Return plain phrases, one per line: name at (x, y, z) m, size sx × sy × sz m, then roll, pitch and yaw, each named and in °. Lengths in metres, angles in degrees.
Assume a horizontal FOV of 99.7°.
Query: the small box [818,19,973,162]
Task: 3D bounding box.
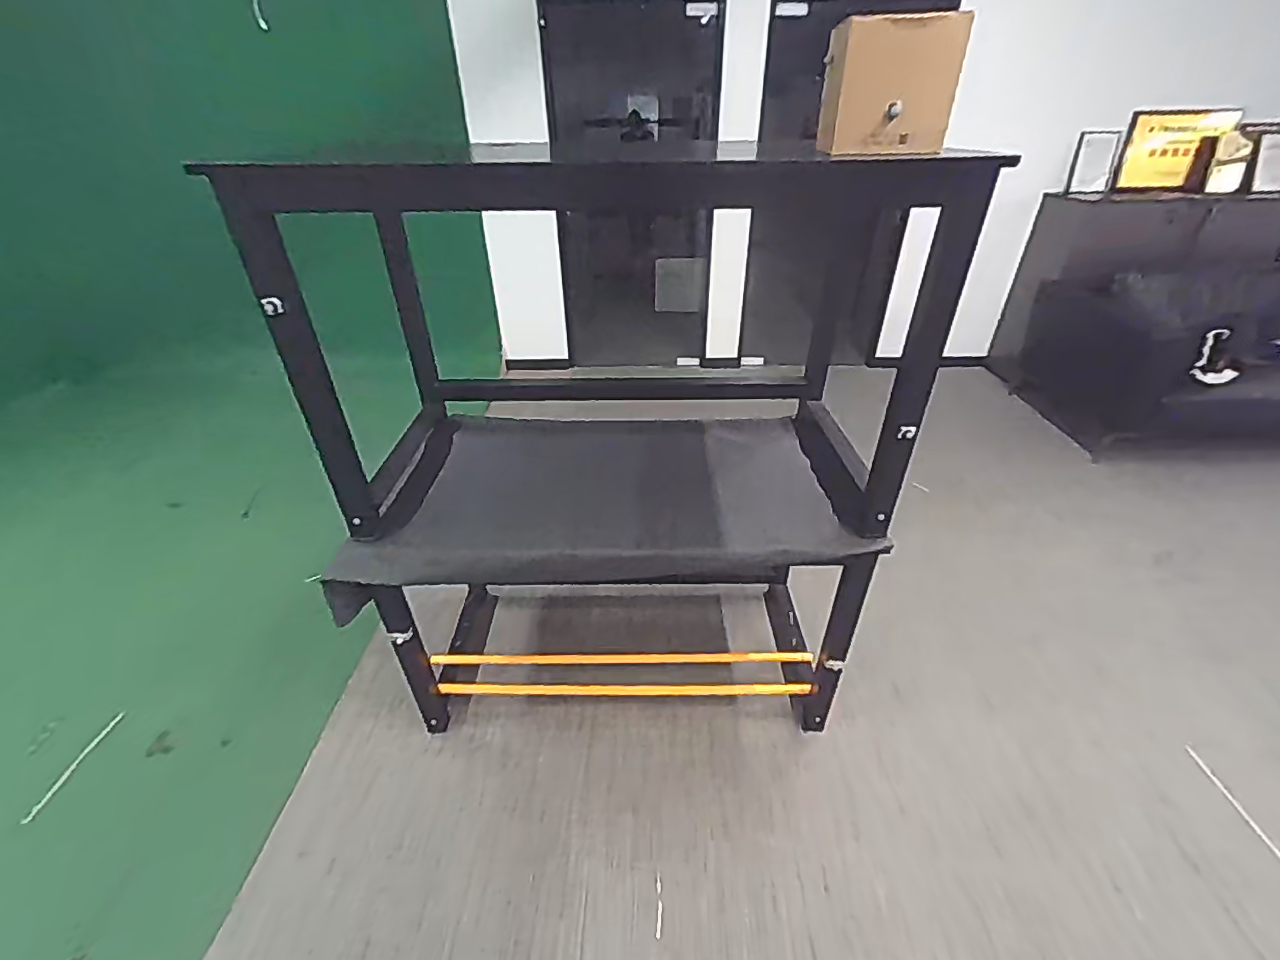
small box at (0.389, -0.611, 0.862) m, size 0.168 × 0.176 × 0.179 m, roll 3°, pitch 34°, yaw 7°
